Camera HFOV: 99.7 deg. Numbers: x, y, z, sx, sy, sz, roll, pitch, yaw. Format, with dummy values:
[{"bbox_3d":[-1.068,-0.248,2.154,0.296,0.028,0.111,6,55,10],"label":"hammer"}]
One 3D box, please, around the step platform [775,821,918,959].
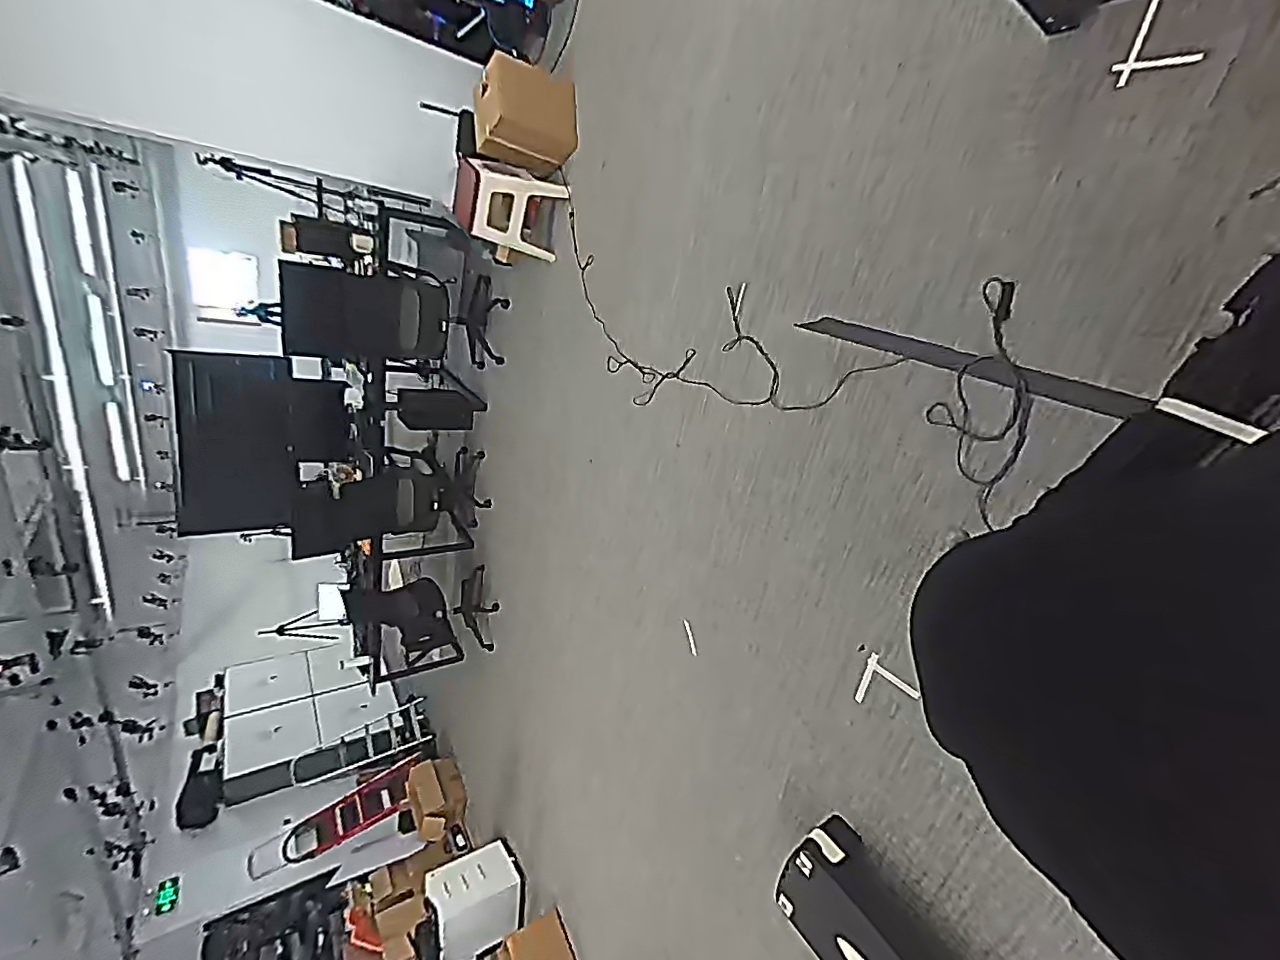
[{"bbox_3d":[0.690,1.334,1.474,0.684,0.204,0.286,36,123,46],"label":"step platform"}]
